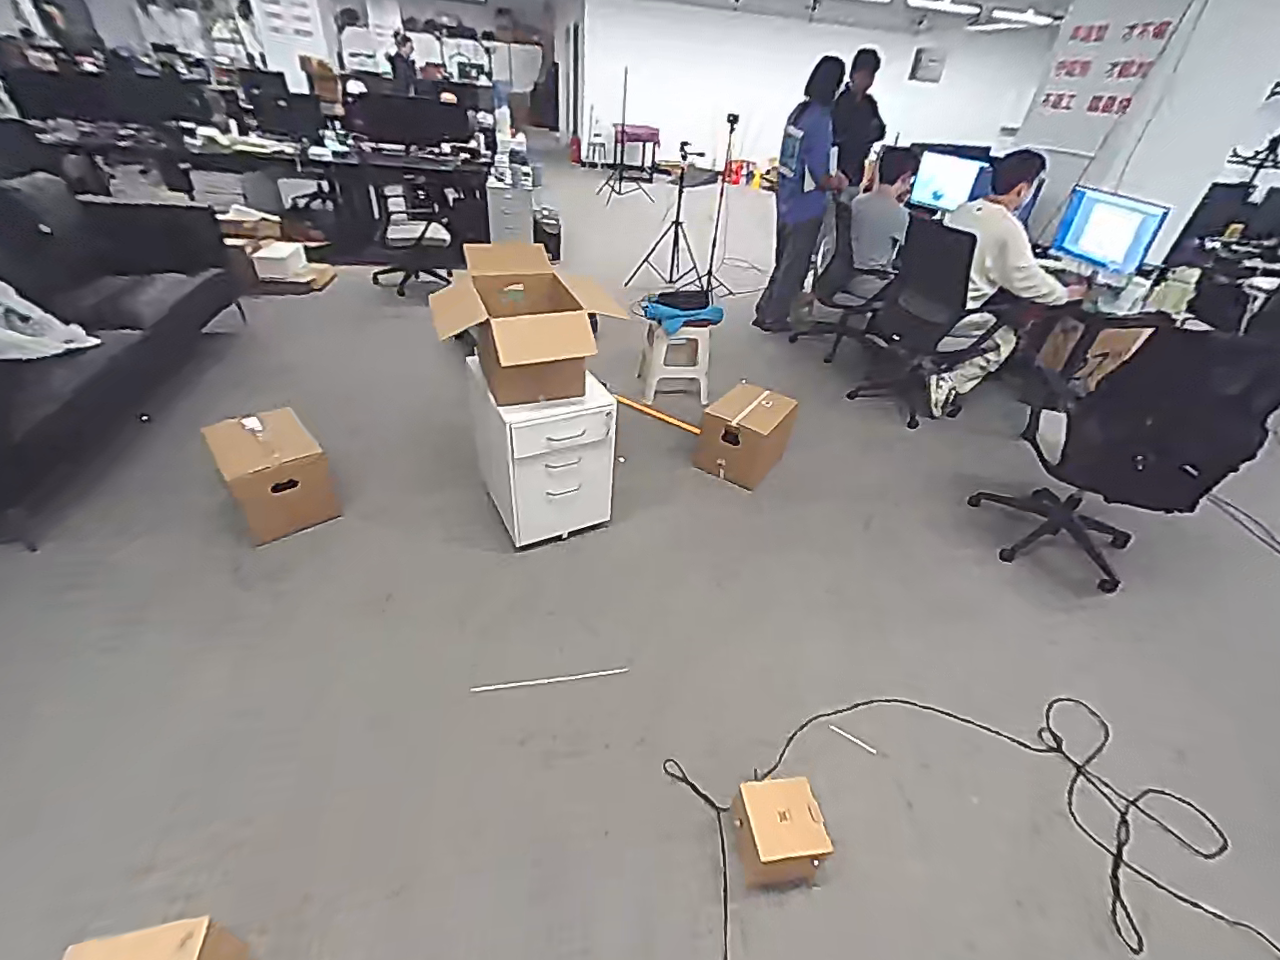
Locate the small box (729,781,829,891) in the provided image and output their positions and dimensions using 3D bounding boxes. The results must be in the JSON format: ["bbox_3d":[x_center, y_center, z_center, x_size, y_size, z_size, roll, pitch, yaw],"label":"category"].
[{"bbox_3d":[0.320,0.854,1.296,0.179,0.176,0.168,-1,37,-10],"label":"small box"}]

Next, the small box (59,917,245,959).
[{"bbox_3d":[-0.701,0.752,0.752,0.179,0.176,0.168,-4,38,-12],"label":"small box"}]
